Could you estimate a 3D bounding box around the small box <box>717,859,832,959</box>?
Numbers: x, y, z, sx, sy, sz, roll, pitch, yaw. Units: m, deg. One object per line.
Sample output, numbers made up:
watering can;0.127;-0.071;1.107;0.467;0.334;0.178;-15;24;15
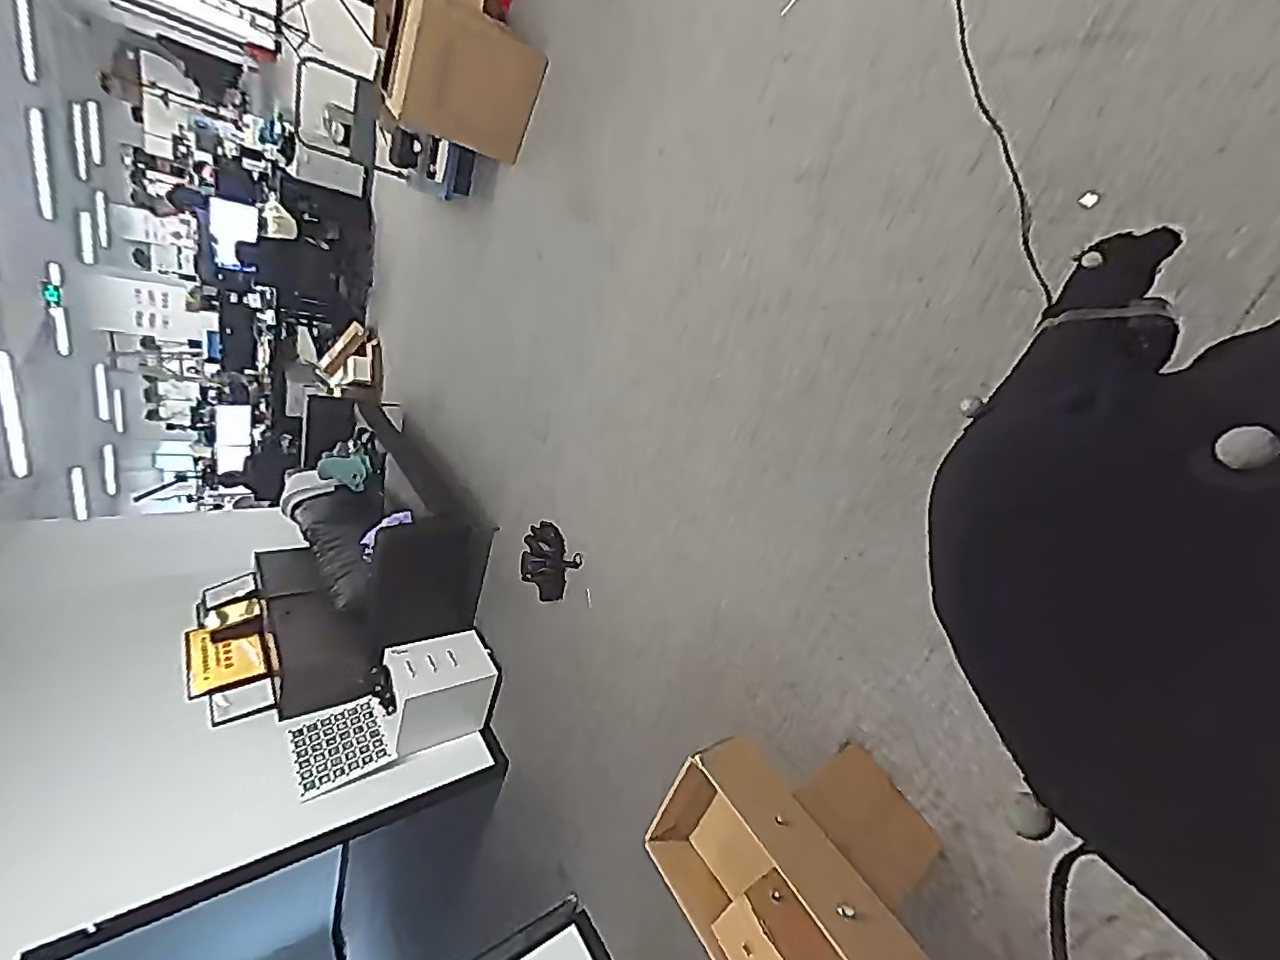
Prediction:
small box;0.316;1.037;1.260;0.168;0.176;0.179;47;128;40
